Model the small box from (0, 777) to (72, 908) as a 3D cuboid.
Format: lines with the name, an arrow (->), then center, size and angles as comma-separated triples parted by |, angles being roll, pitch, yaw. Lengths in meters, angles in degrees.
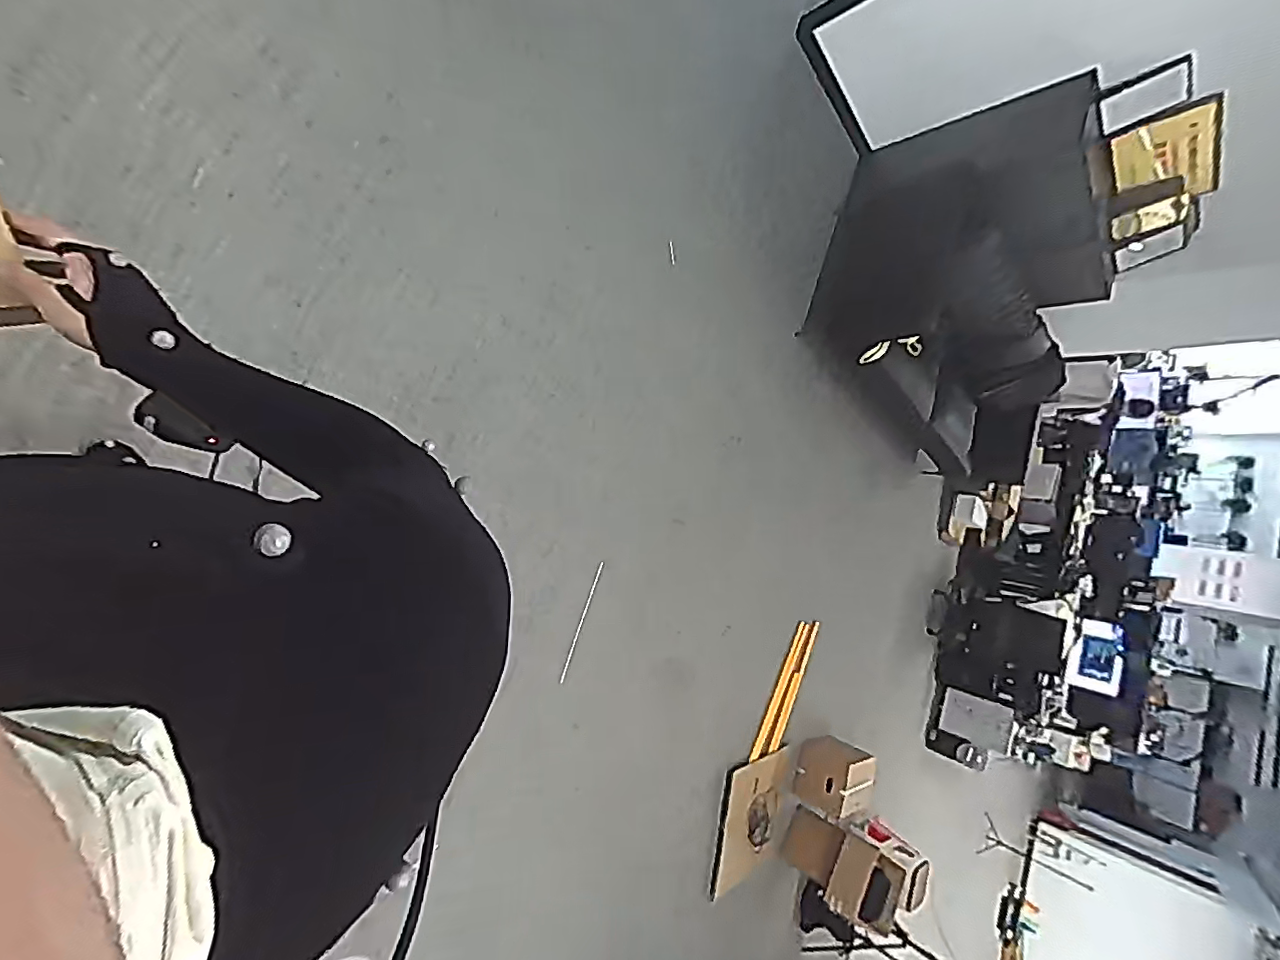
small box -> -1.263, 0.701, 1.054 | 0.179, 0.176, 0.168 | 28, 76, -41
